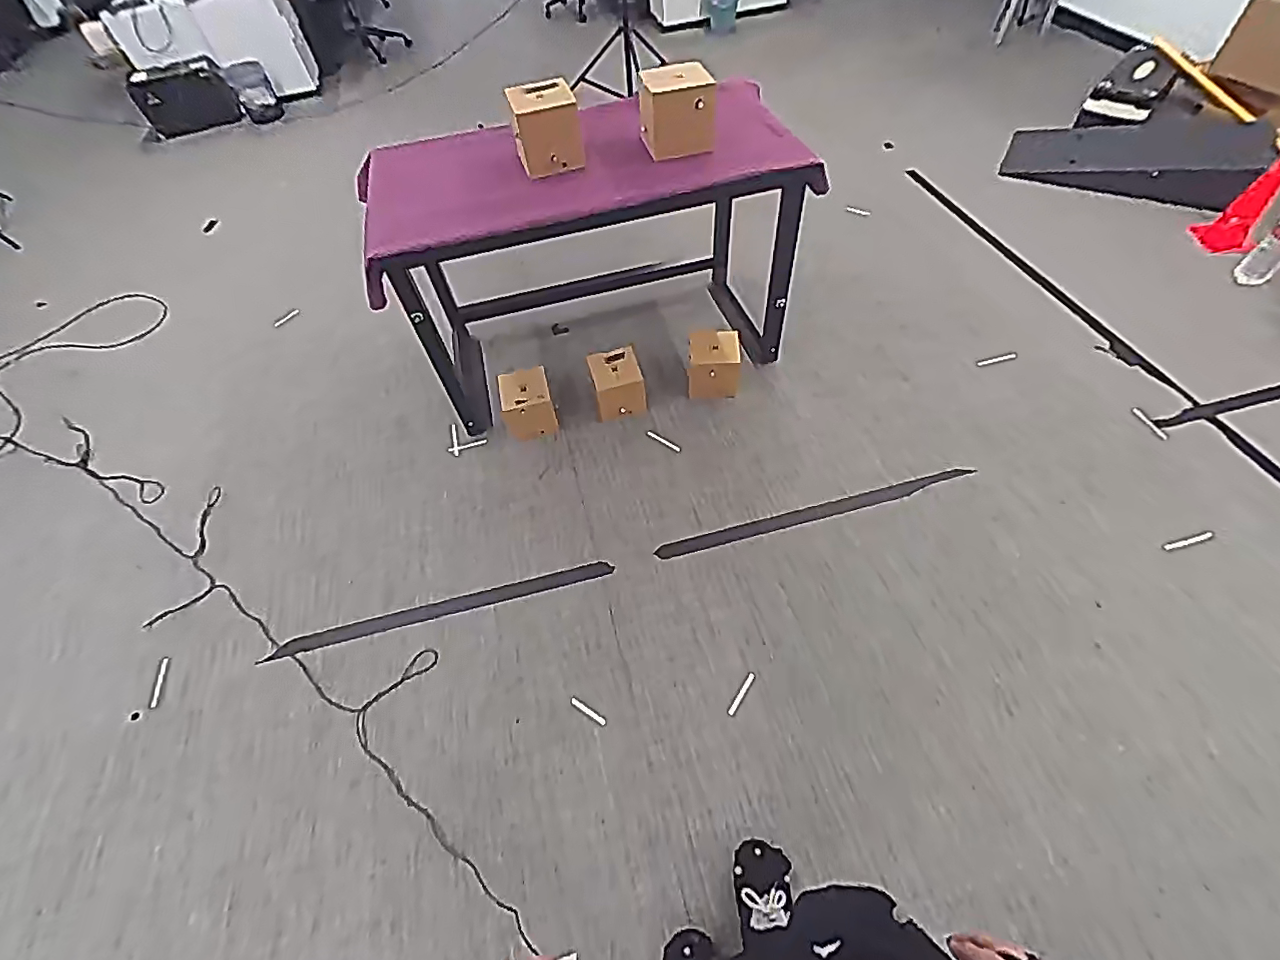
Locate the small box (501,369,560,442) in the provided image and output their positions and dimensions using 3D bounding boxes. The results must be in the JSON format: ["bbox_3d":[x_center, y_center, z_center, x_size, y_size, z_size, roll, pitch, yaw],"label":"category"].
[{"bbox_3d":[-0.387,-0.261,1.912,0.168,0.176,0.179,-13,53,-4],"label":"small box"}]

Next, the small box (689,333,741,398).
[{"bbox_3d":[0.268,-0.411,1.958,0.179,0.176,0.168,-1,56,6],"label":"small box"}]

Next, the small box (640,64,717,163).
[{"bbox_3d":[0.104,-1.014,1.501,0.179,0.176,0.168,-13,54,-4],"label":"small box"}]

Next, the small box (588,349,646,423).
[{"bbox_3d":[-0.079,-0.335,1.934,0.168,0.176,0.179,-15,56,-5],"label":"small box"}]
